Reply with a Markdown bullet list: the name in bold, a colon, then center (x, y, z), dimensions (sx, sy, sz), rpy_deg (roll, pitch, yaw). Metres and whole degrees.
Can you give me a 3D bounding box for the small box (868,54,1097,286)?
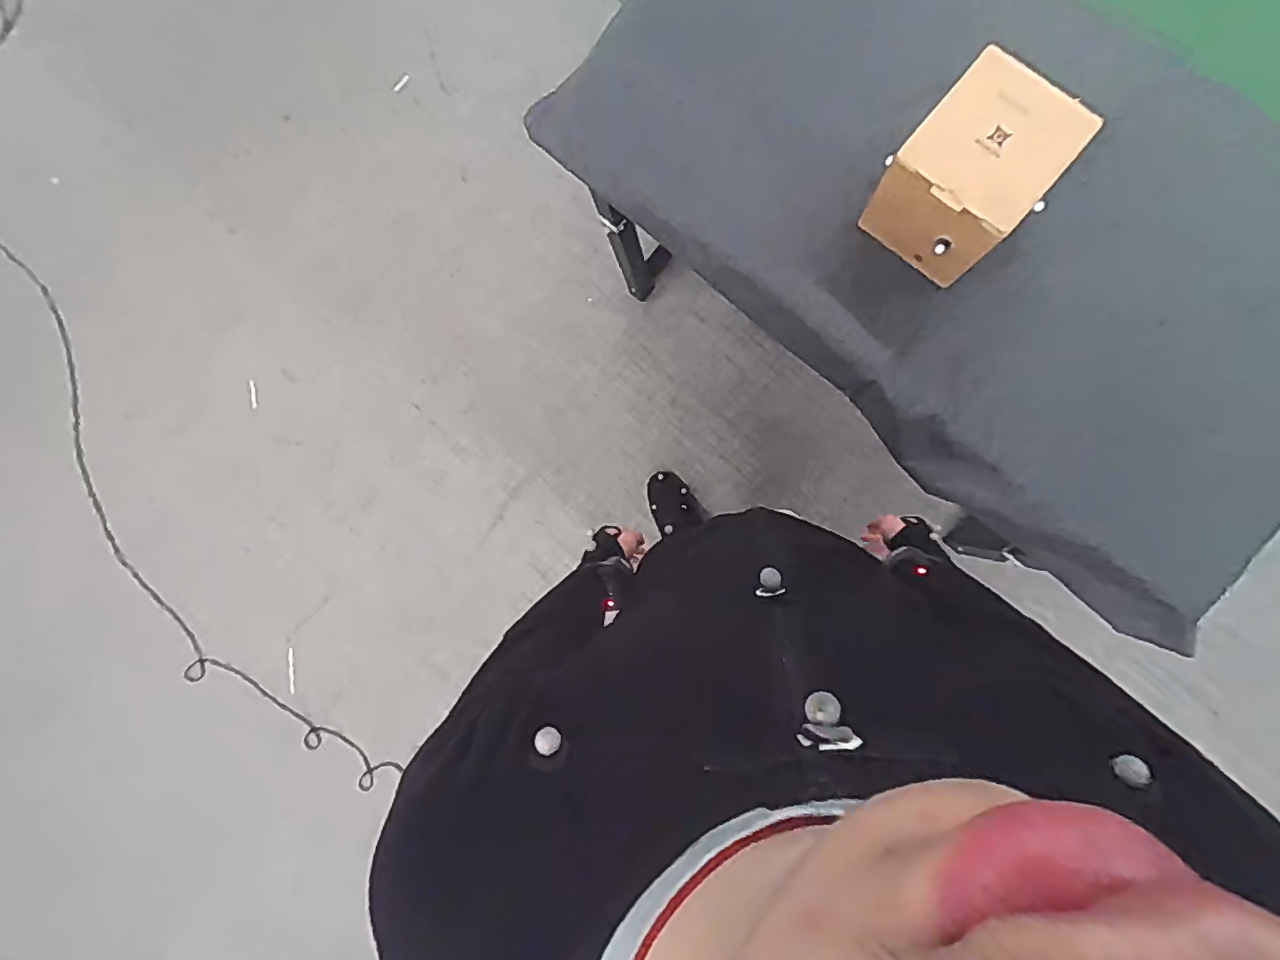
- **small box**: center (0.439, -0.400, 0.734), dimensions (0.168, 0.176, 0.179), rpy_deg (40, 92, 5)
